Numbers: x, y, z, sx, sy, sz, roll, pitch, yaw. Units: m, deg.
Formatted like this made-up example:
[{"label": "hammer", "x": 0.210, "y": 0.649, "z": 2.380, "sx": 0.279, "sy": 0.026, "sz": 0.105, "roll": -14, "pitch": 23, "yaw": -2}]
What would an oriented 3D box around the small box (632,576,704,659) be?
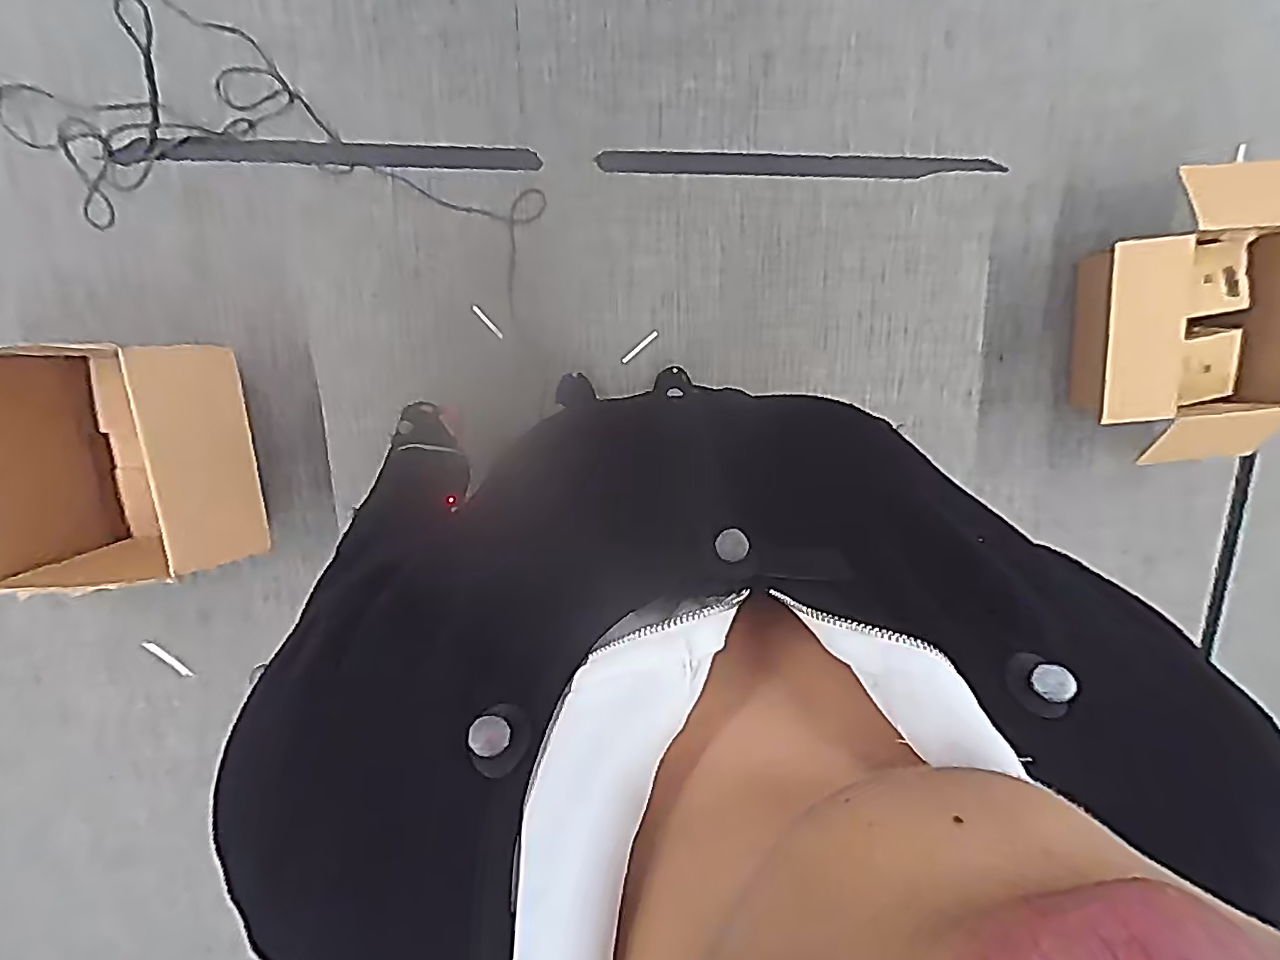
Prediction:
[{"label": "small box", "x": 0.069, "y": 0.361, "z": 1.446, "sx": 0.179, "sy": 0.176, "sz": 0.168, "roll": 0, "pitch": 99, "yaw": -2}]
